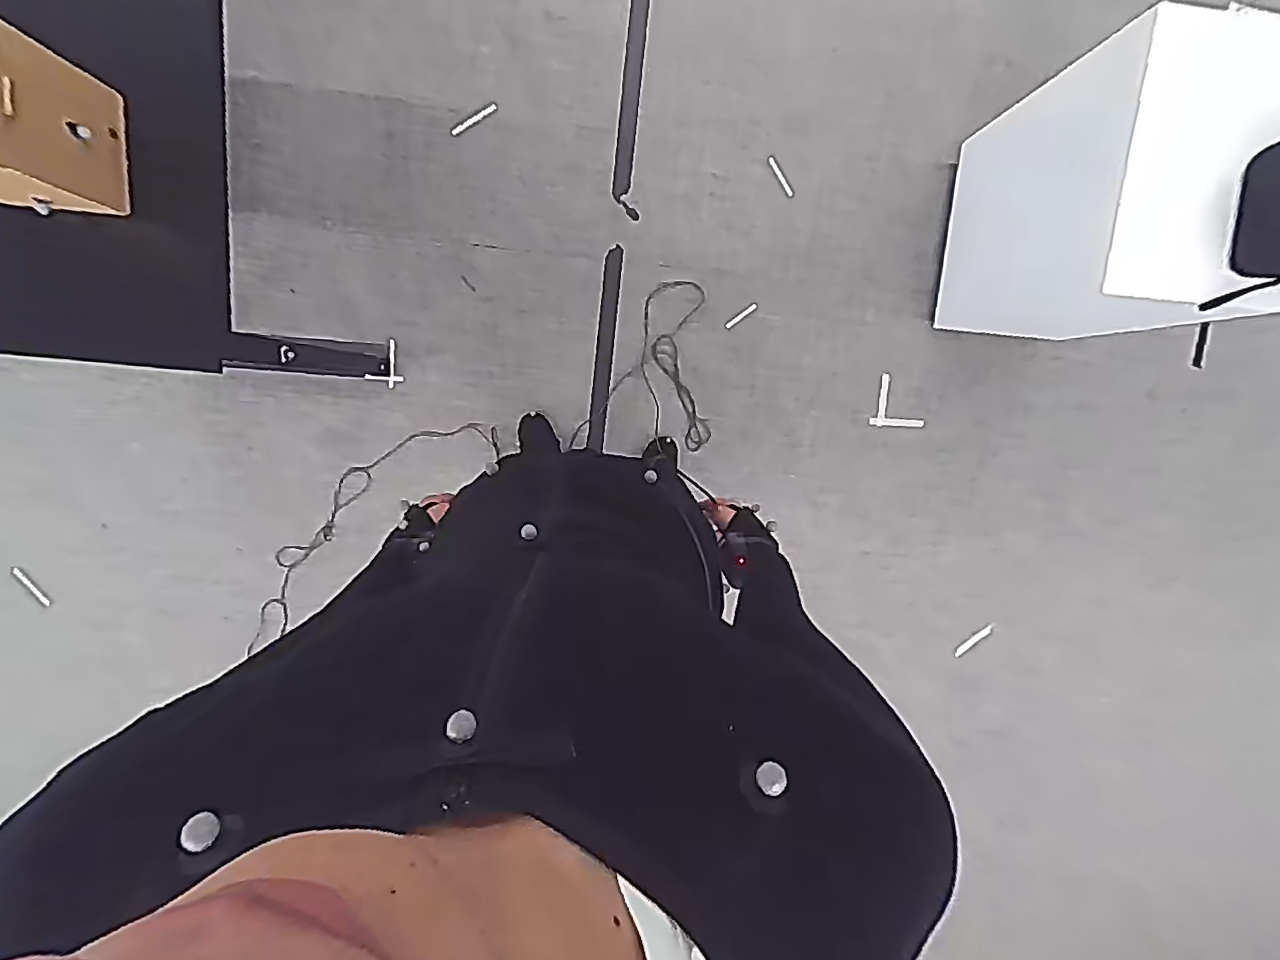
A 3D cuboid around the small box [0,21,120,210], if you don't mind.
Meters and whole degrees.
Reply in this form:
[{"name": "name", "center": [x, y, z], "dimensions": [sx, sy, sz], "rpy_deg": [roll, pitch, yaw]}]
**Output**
[{"name": "small box", "center": [-0.821, -0.462, 0.692], "dimensions": [0.179, 0.176, 0.168], "rpy_deg": [3, 98, -4]}]
